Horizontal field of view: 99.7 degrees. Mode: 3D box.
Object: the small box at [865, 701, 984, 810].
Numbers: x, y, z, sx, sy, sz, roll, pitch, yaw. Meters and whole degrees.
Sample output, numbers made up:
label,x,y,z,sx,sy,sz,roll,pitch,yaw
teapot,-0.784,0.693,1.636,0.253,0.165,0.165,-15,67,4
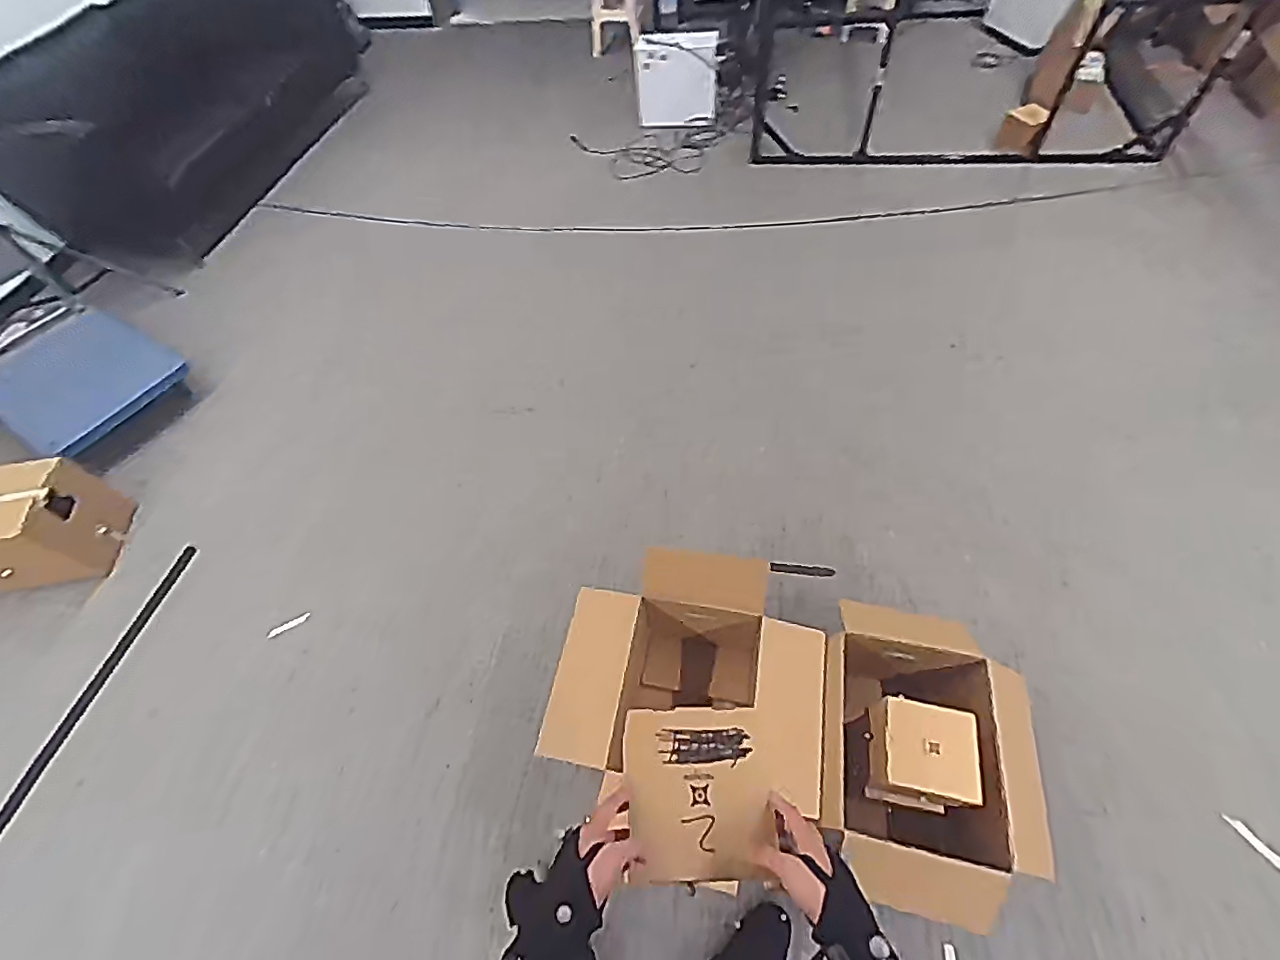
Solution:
label,x,y,z,sx,sy,sz,roll,pitch,yaw
small box,0.593,0.582,1.144,0.179,0.176,0.168,8,60,11
